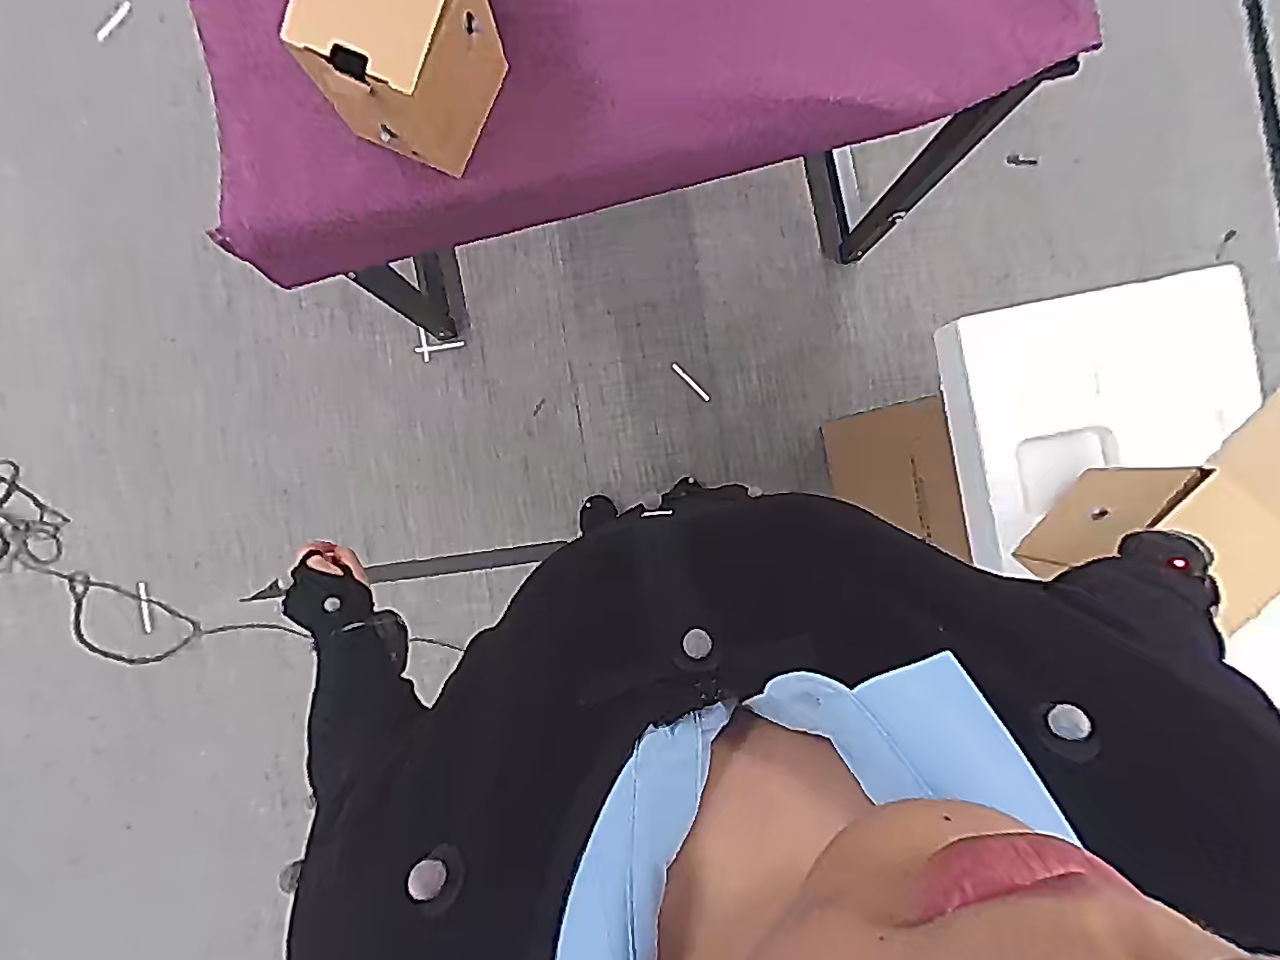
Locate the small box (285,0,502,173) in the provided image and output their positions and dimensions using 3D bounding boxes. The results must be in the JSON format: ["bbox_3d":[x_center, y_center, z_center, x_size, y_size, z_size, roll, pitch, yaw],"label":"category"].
[{"bbox_3d":[-0.292,-0.542,0.687,0.168,0.176,0.179,24,90,1],"label":"small box"}]
